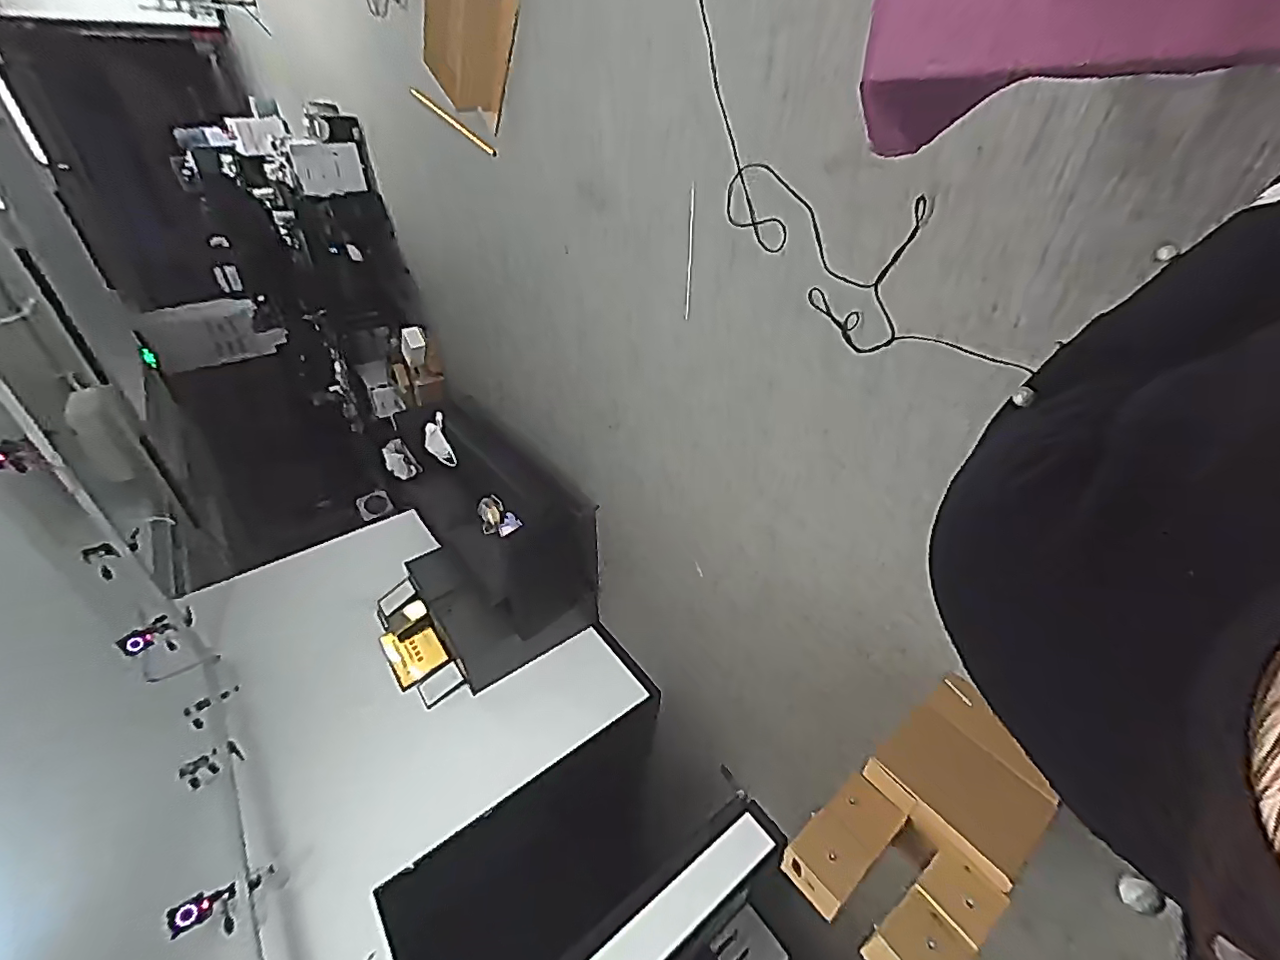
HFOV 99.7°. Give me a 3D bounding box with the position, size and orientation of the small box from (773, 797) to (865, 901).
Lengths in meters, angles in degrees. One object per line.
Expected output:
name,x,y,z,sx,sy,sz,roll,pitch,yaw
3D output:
small box,0.525,1.075,1.594,0.179,0.176,0.168,36,140,37

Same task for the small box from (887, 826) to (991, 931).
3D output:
small box,0.817,1.095,1.477,0.168,0.176,0.179,40,142,38

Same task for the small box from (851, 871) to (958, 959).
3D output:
small box,0.688,1.167,1.404,0.168,0.176,0.179,41,143,37
